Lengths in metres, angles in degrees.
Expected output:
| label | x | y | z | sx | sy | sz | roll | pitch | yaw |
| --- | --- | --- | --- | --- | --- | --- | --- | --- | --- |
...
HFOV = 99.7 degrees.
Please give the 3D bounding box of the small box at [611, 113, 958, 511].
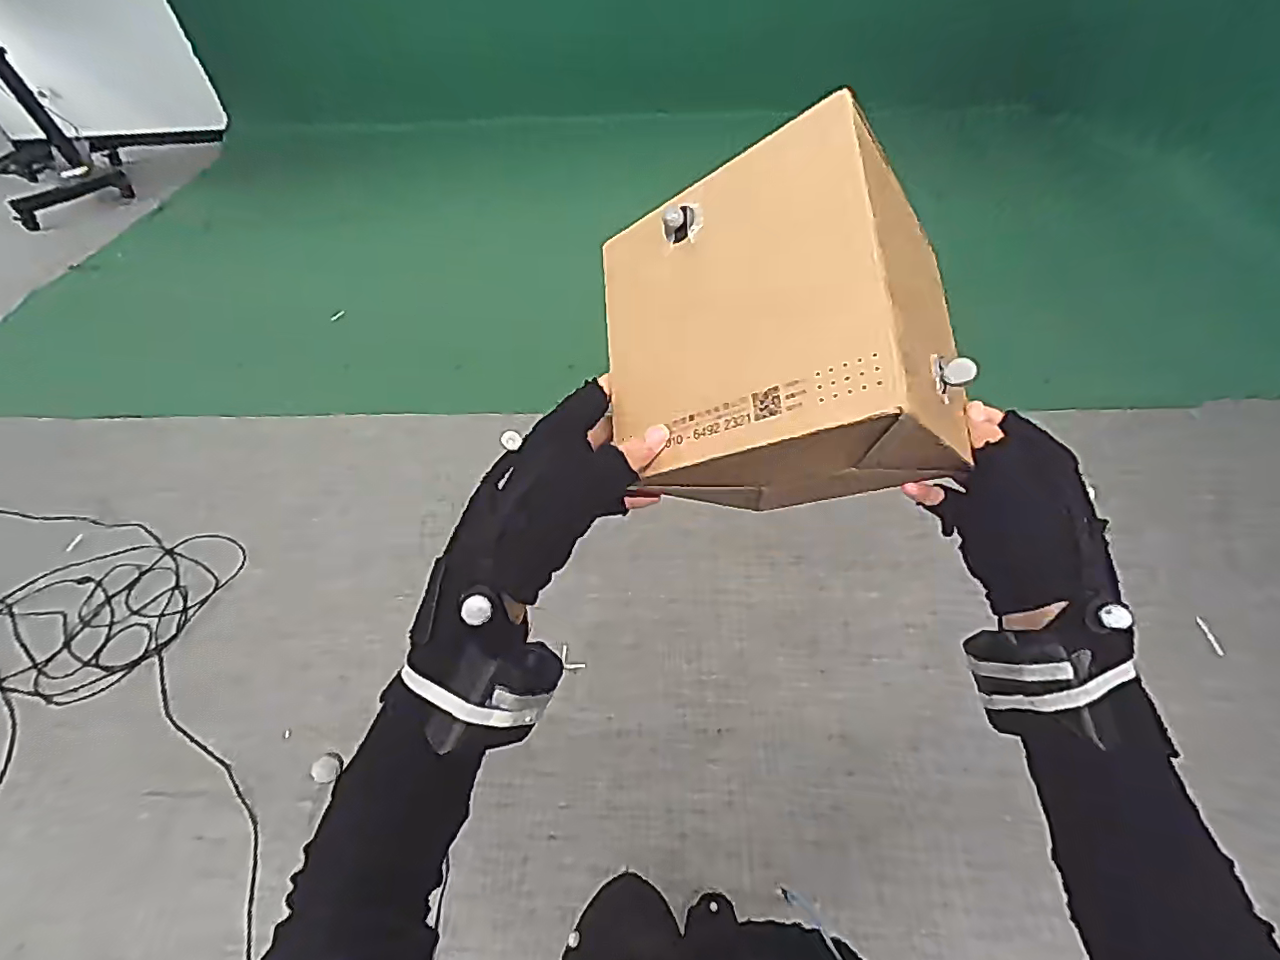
| label | x | y | z | sx | sy | sz | roll | pitch | yaw |
| --- | --- | --- | --- | --- | --- | --- | --- | --- | --- |
| small box | 0.097 | -0.077 | 0.364 | 0.168 | 0.179 | 0.176 | -15 | 72 | 37 |
